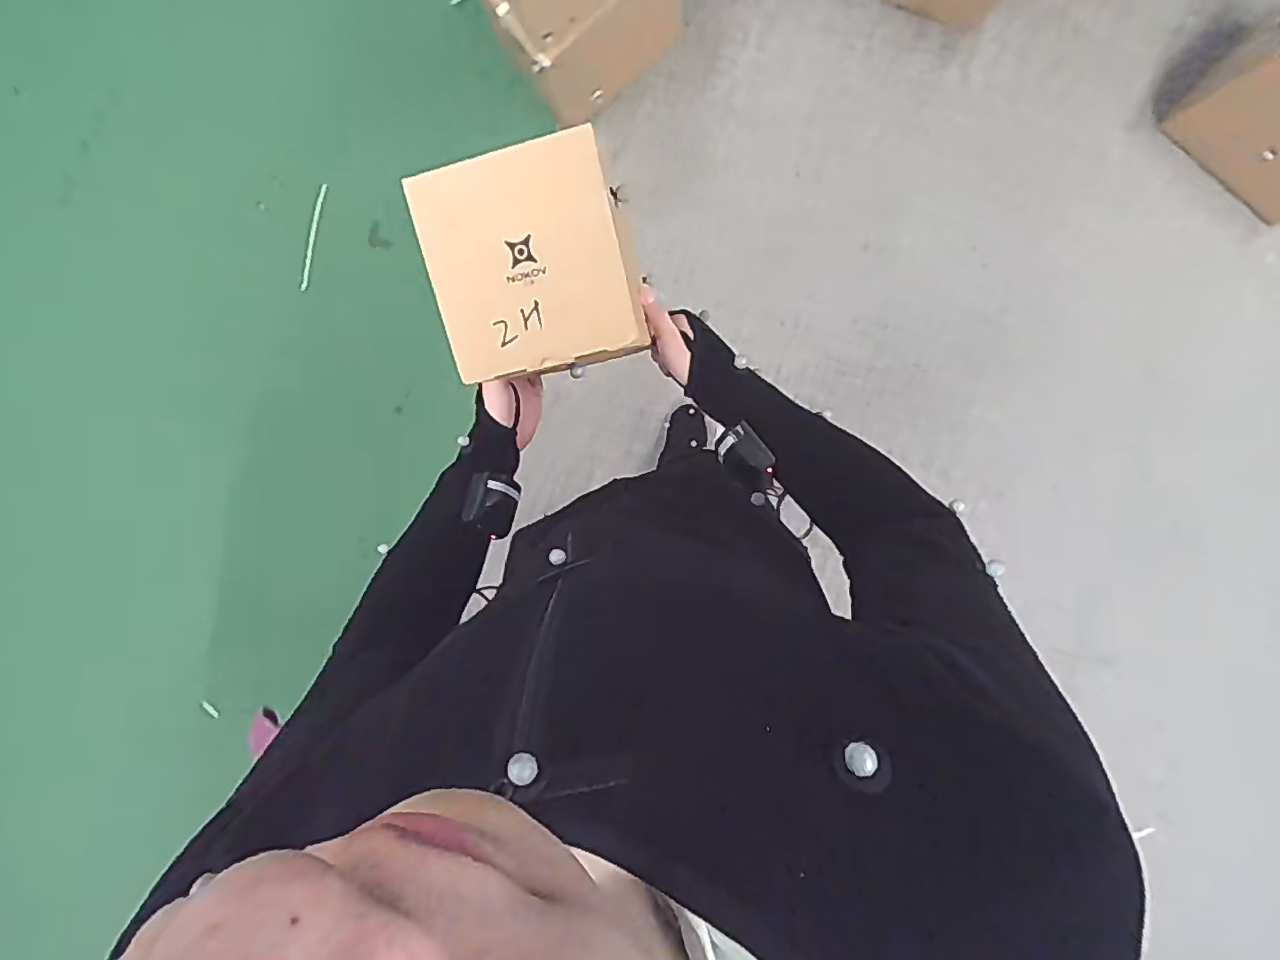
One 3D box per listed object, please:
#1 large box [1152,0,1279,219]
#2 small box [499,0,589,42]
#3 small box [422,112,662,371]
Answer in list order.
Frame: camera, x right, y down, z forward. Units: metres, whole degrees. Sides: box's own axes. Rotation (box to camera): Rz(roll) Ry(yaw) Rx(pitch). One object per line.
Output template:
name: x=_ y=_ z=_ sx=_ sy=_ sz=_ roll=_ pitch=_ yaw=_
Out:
large box: x=1.552 y=-0.890 z=1.231 sx=0.408 sy=0.320 sz=0.320 roll=40 pitch=98 yaw=1
small box: x=-0.225 y=-1.062 z=1.116 sx=0.168 sy=0.176 sz=0.179 roll=-35 pitch=93 yaw=7
small box: x=-0.076 y=-0.209 z=0.524 sx=0.168 sy=0.176 sz=0.179 roll=-11 pitch=103 yaw=8
